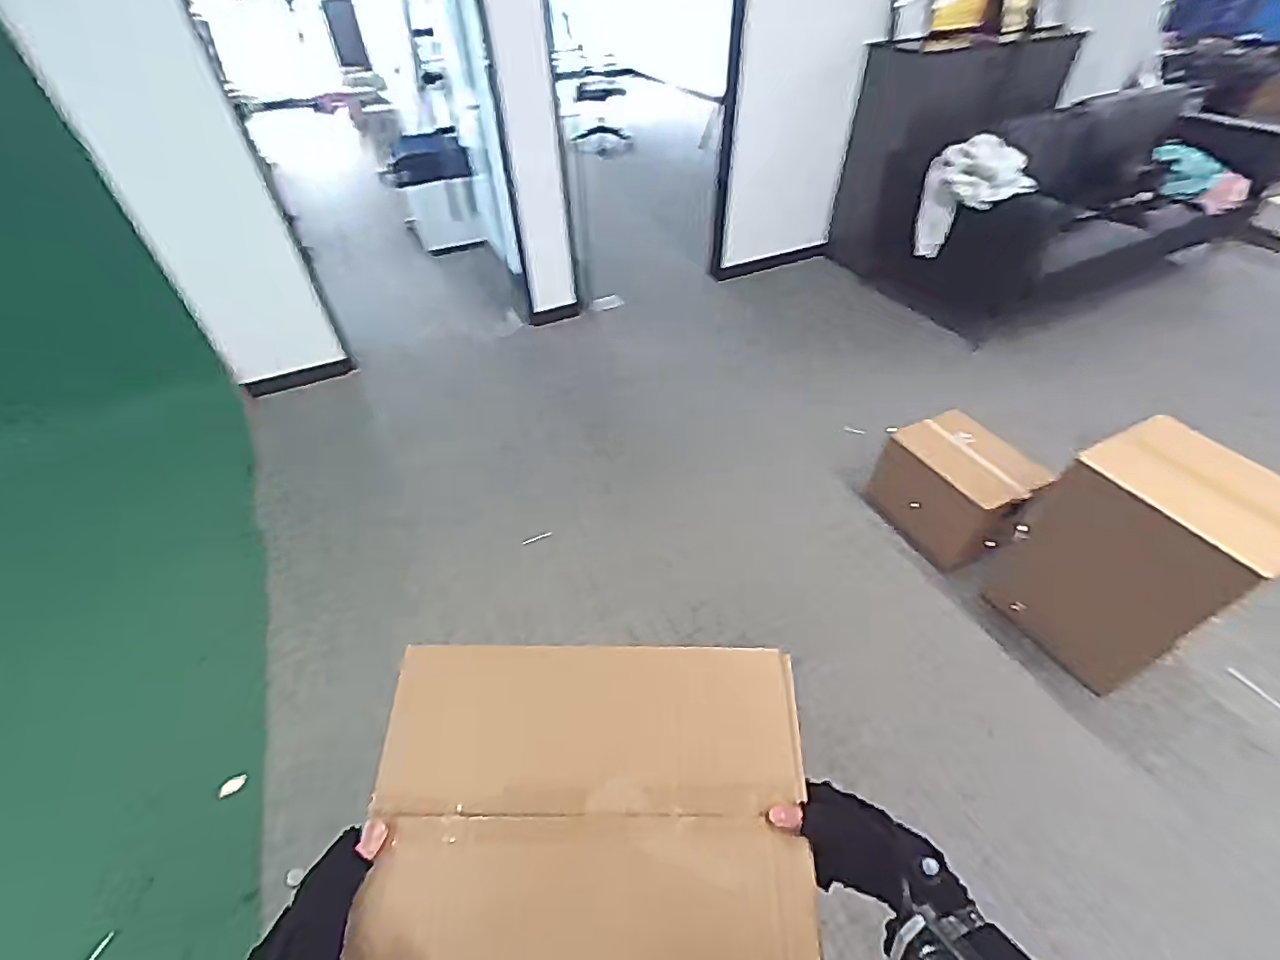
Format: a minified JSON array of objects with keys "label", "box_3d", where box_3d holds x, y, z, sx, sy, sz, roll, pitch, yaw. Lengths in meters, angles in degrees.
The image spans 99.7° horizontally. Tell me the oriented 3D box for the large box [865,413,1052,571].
[{"label":"large box","box_3d":[1.067,0.035,1.865,0.320,0.320,0.408,-19,46,-17]}]
